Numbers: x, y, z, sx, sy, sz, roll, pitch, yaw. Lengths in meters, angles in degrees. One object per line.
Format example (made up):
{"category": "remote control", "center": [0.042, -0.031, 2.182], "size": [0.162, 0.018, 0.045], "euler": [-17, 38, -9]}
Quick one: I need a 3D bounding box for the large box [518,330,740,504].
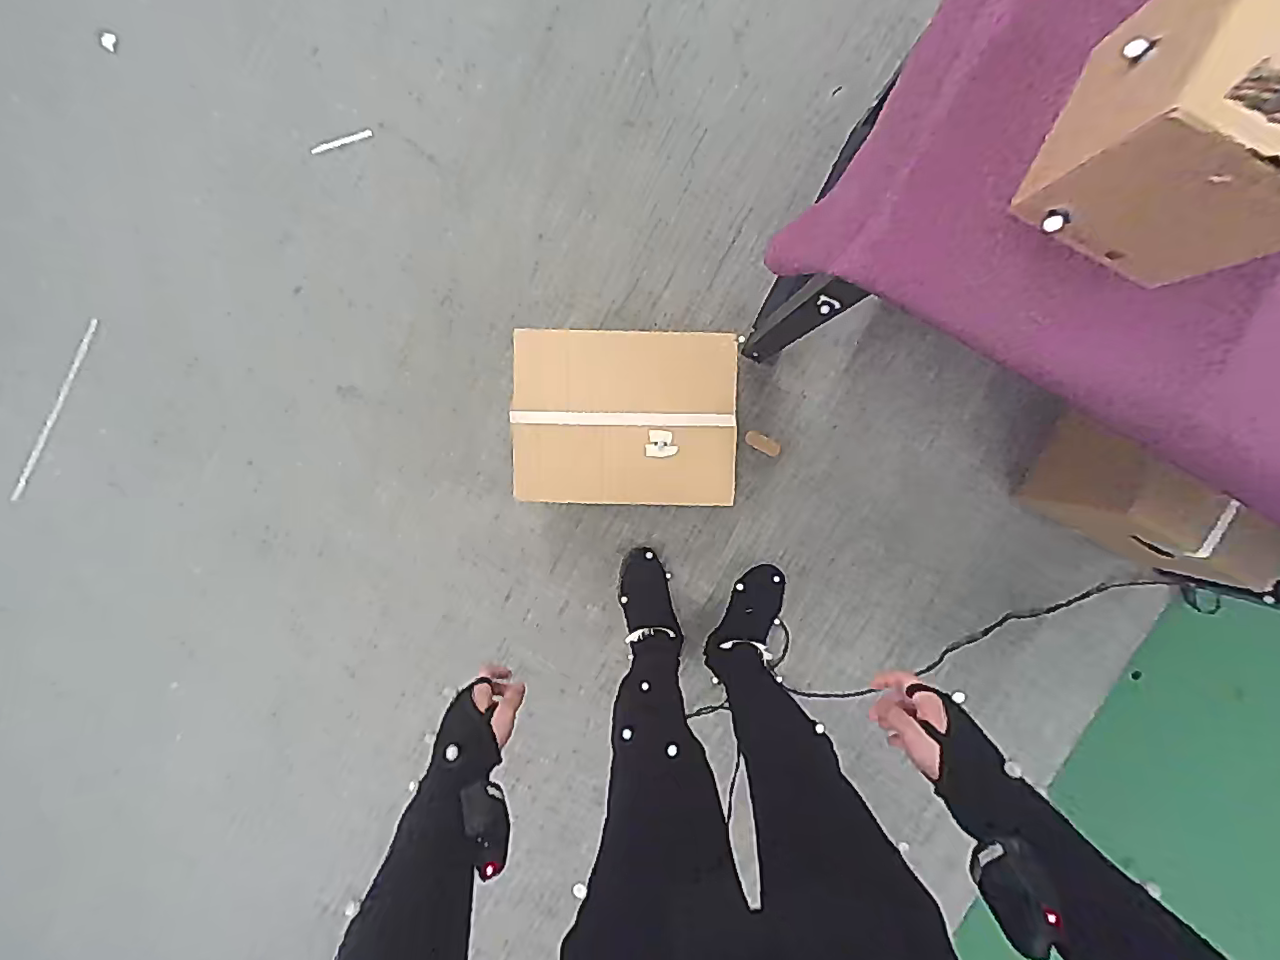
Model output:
{"category": "large box", "center": [-0.023, -0.121, 1.122], "size": [0.408, 0.320, 0.320], "euler": [1, 94, -1]}

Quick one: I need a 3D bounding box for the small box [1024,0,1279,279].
{"category": "small box", "center": [0.470, -0.297, 0.447], "size": [0.168, 0.176, 0.179], "euler": [27, 92, -2]}
